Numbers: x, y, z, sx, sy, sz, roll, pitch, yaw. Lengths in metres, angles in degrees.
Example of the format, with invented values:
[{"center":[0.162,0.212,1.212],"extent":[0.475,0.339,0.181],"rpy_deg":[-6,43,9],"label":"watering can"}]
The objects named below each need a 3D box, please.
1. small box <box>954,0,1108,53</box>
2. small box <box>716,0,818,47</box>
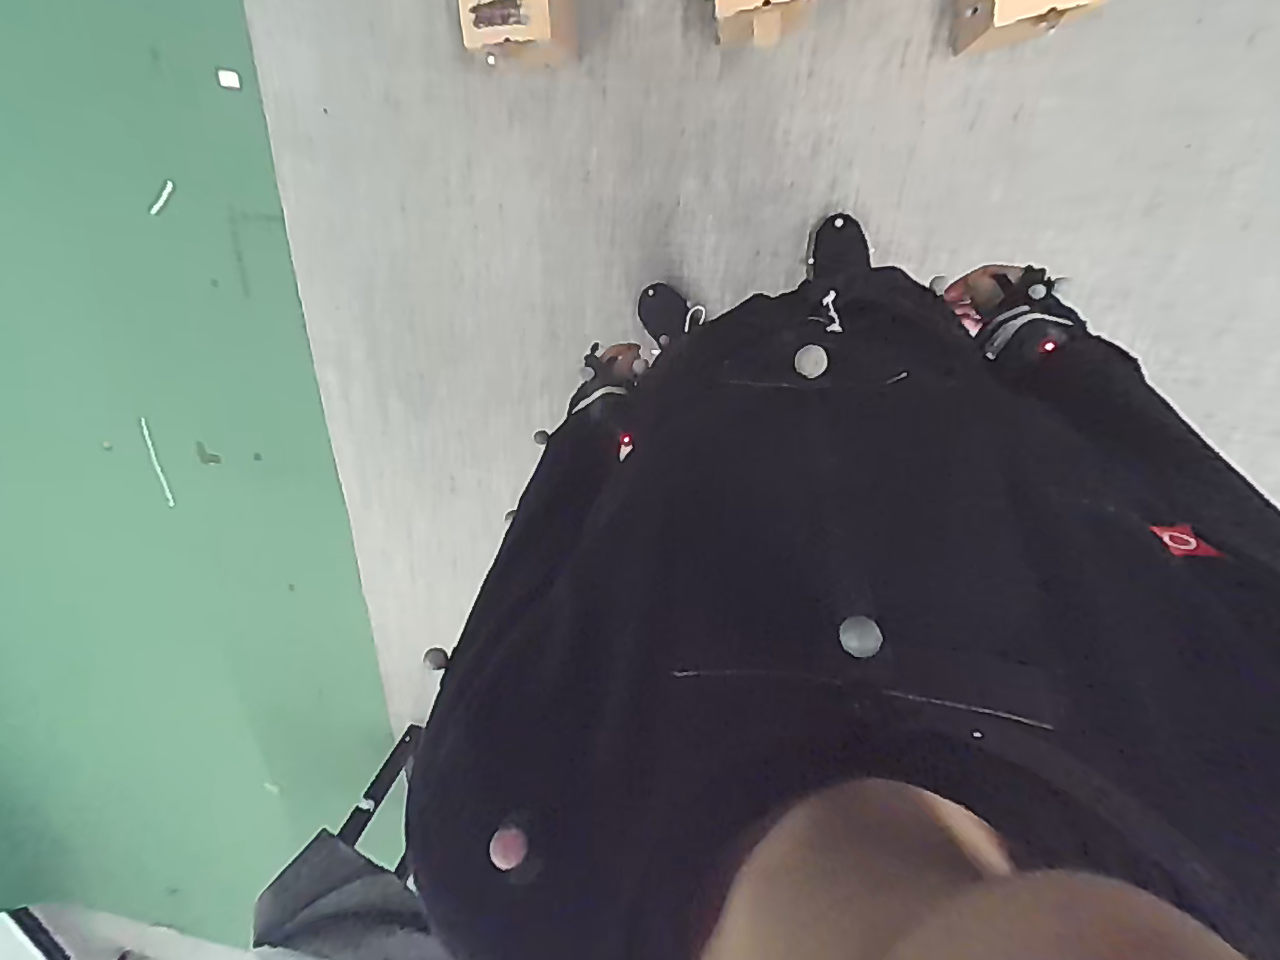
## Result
[{"center":[0.623,-0.817,0.863],"extent":[0.168,0.176,0.179],"rpy_deg":[-6,112,12],"label":"small box"},{"center":[0.210,-0.876,0.914],"extent":[0.168,0.176,0.179],"rpy_deg":[-2,115,12],"label":"small box"}]
